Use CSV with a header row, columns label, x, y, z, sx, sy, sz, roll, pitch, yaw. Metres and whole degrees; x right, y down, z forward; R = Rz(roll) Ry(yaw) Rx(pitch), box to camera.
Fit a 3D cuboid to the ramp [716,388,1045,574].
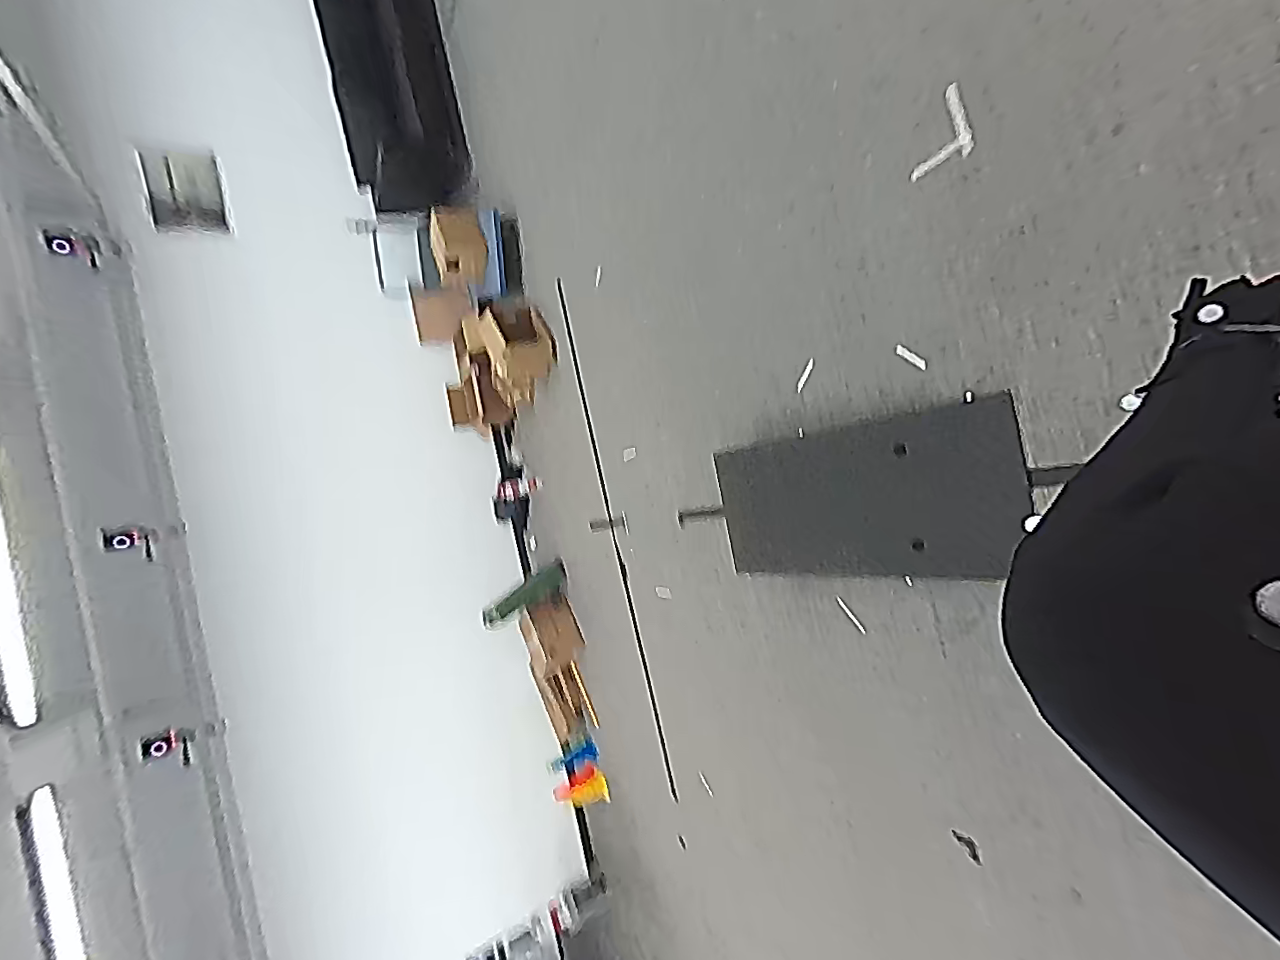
label,x,y,z,sx,sy,sz,roll,pitch,yaw
ramp,0.662,0.055,1.736,0.991,0.206,0.509,-13,88,60
